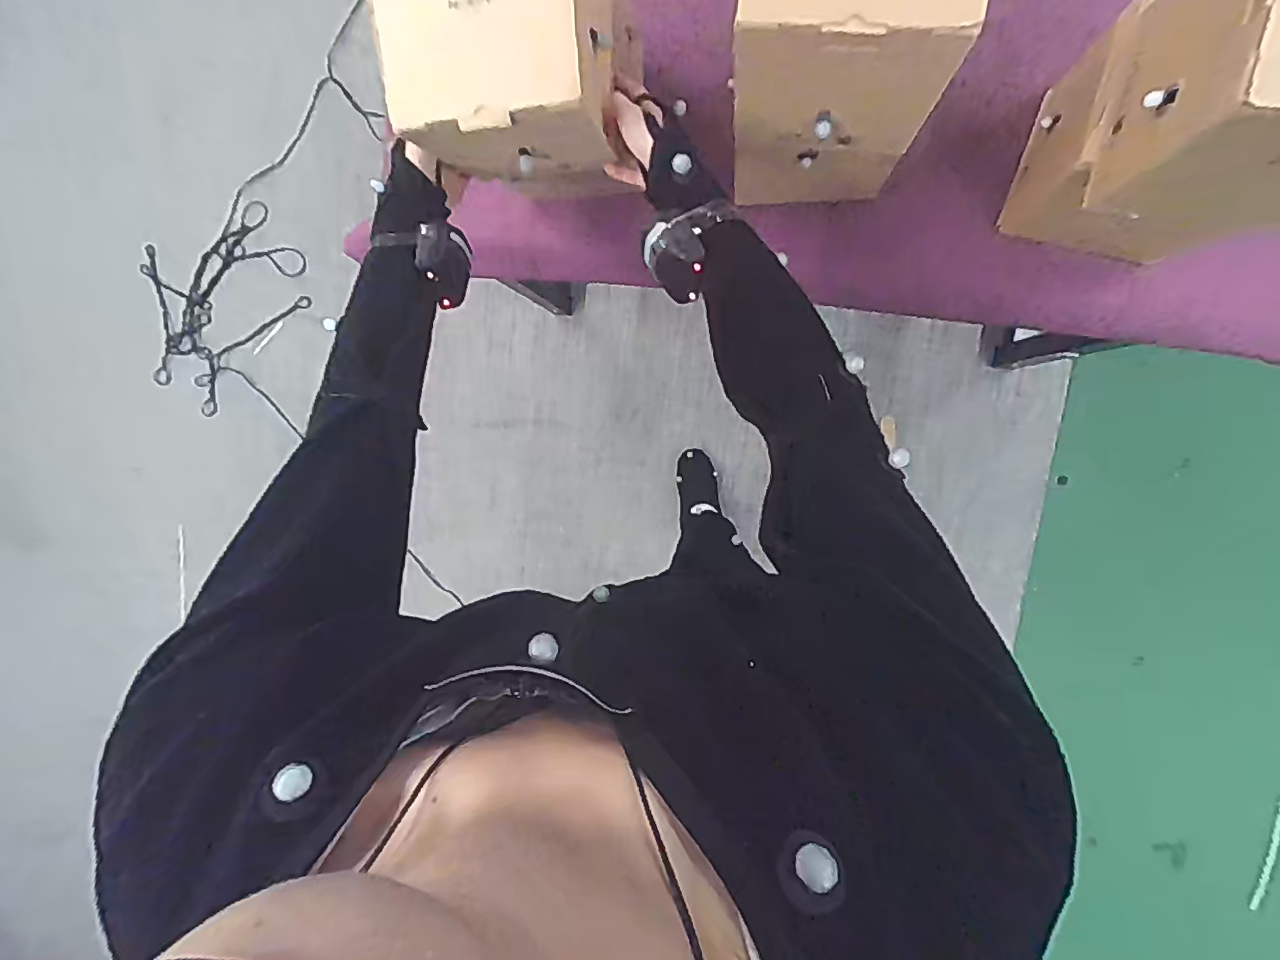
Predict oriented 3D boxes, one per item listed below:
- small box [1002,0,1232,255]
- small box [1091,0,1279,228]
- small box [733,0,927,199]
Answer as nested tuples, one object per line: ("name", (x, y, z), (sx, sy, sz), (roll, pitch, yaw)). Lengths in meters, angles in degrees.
("small box", (0.521, -0.347, 0.548), (0.179, 0.176, 0.168), (18, 98, 9))
("small box", (0.486, -0.303, 0.392), (0.179, 0.176, 0.168), (13, 97, 9))
("small box", (0.194, -0.428, 0.596), (0.179, 0.176, 0.168), (2, 96, 9))
